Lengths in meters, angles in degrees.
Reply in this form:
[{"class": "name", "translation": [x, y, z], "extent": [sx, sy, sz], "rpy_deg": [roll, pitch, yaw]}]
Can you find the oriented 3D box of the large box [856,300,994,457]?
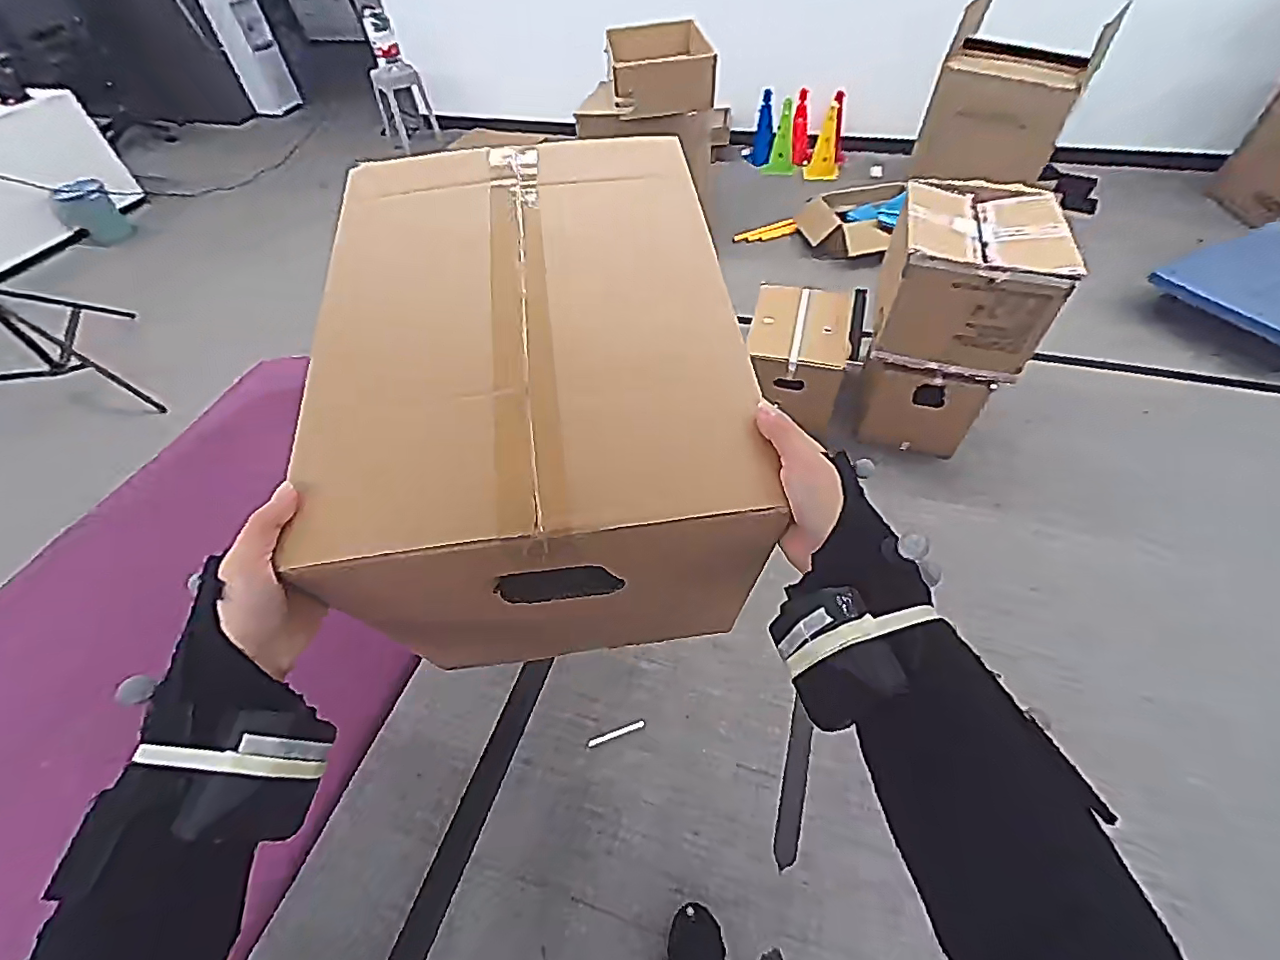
[{"class": "large box", "translation": [0.925, -0.342, 1.810], "extent": [0.320, 0.320, 0.408], "rpy_deg": [11, 53, 13]}]
